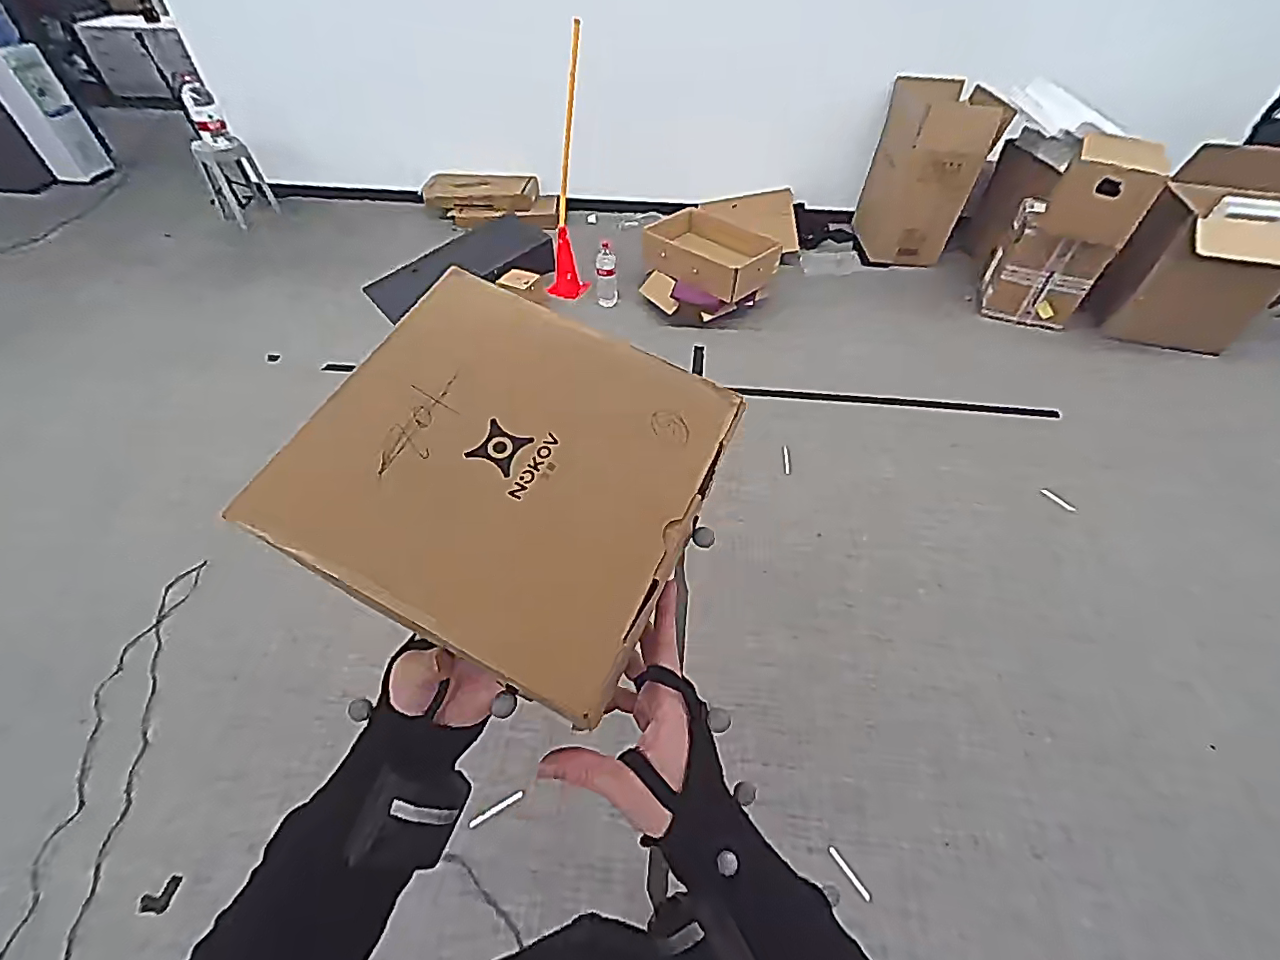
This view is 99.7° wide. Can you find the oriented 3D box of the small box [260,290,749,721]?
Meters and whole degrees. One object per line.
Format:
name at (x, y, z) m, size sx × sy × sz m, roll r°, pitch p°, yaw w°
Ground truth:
small box at (-0.061, 0.028, 0.329) m, size 0.179 × 0.176 × 0.168 m, roll 25°, pitch 64°, yaw 8°
